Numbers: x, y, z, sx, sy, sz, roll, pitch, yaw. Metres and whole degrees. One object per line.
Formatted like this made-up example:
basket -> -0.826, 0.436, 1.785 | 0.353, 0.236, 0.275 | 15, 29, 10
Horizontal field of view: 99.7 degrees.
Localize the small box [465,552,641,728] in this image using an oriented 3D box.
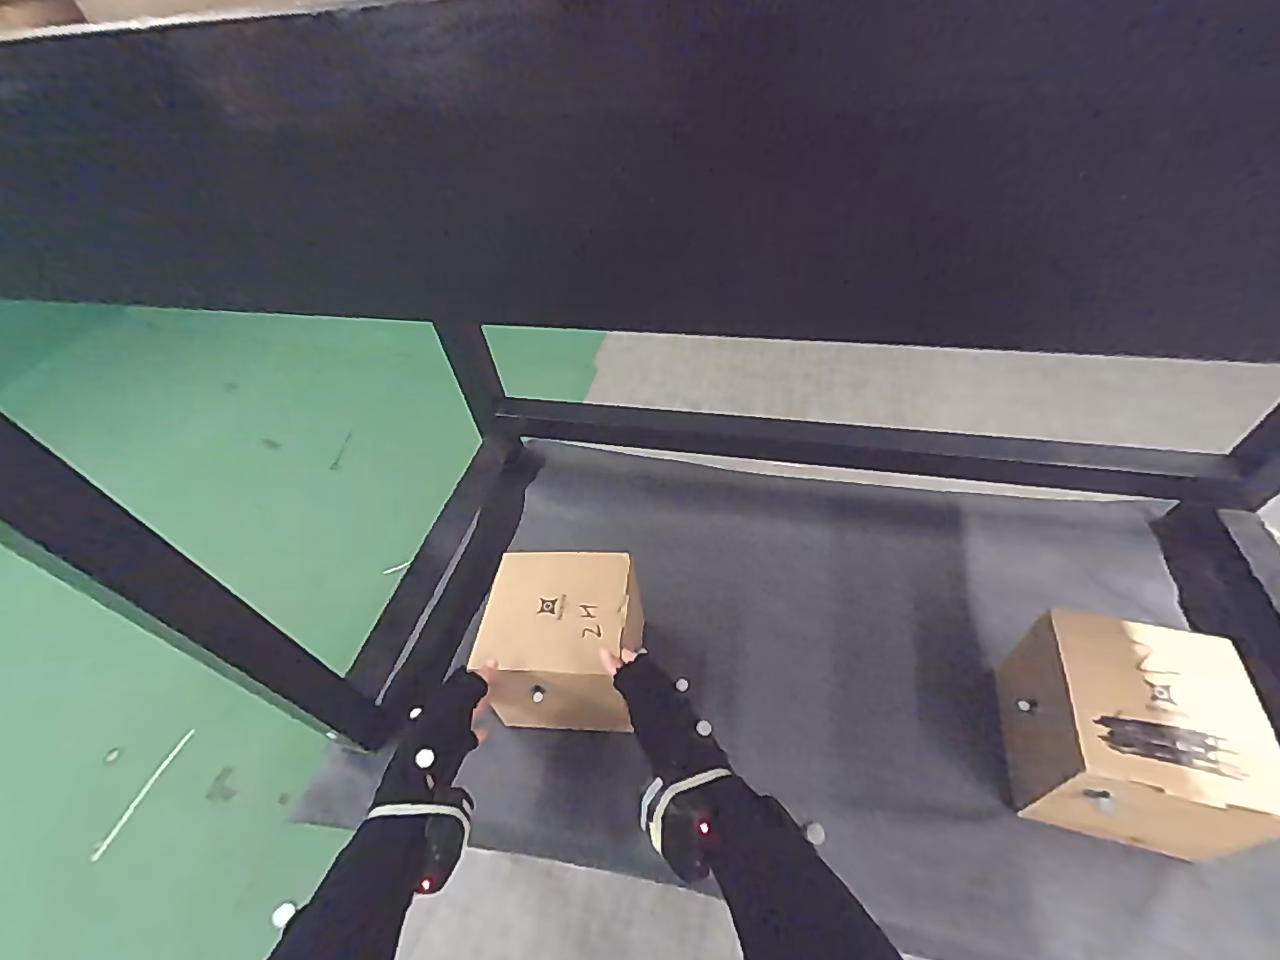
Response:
small box -> -0.100, 0.212, 0.713 | 0.179, 0.176, 0.168 | 0, 46, 7
